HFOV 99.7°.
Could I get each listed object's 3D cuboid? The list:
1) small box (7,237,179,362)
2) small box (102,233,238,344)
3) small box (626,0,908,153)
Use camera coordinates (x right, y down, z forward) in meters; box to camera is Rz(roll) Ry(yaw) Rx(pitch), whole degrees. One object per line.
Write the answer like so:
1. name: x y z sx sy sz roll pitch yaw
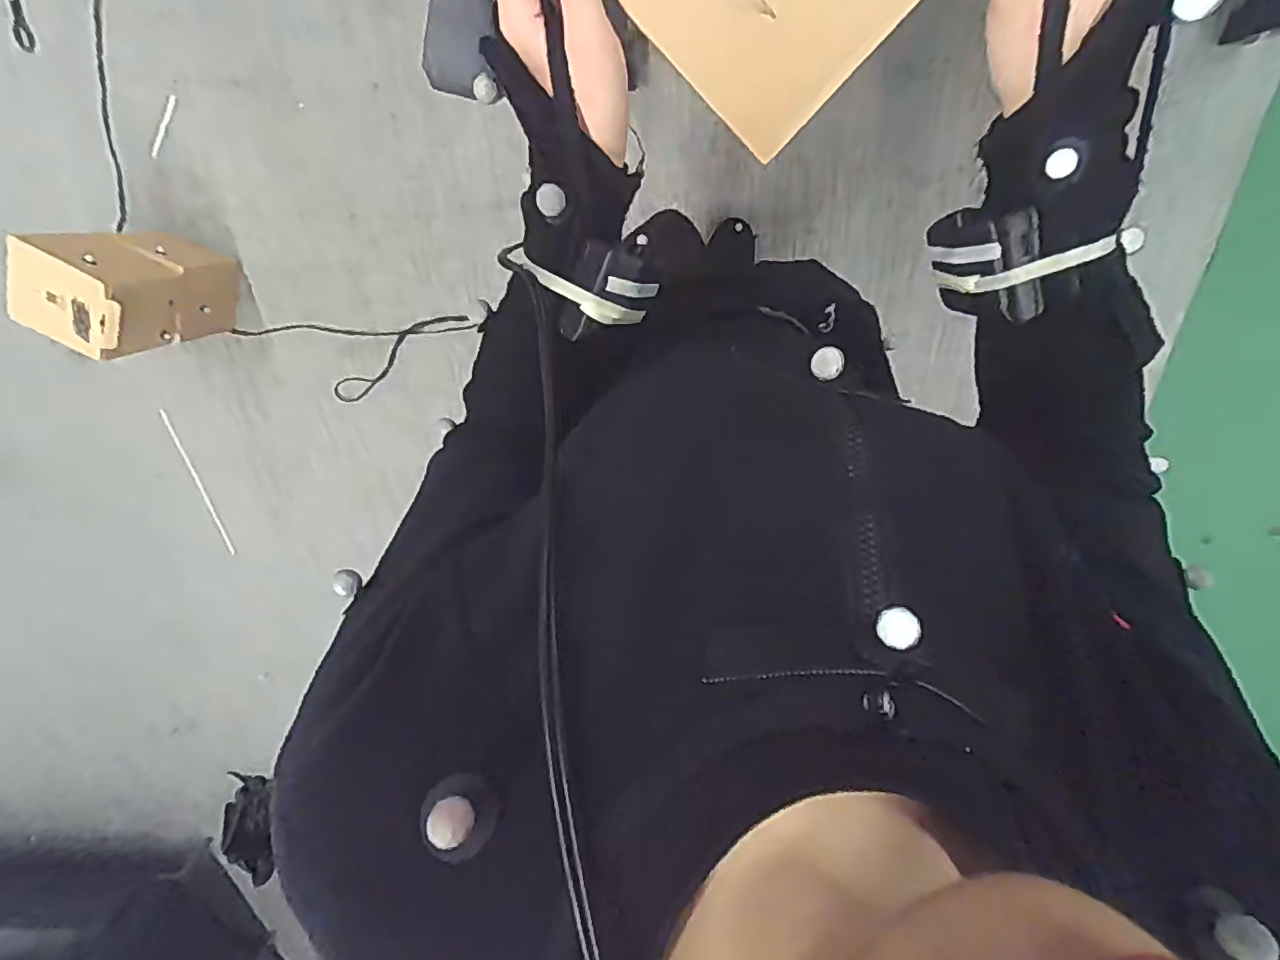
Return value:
1. small box: -1.070 -0.364 1.069 0.179 0.176 0.168 28 114 -9
2. small box: -1.049 -0.434 1.217 0.168 0.176 0.179 23 115 -7
3. small box: 0.069 -0.319 0.274 0.168 0.176 0.179 33 129 -23
